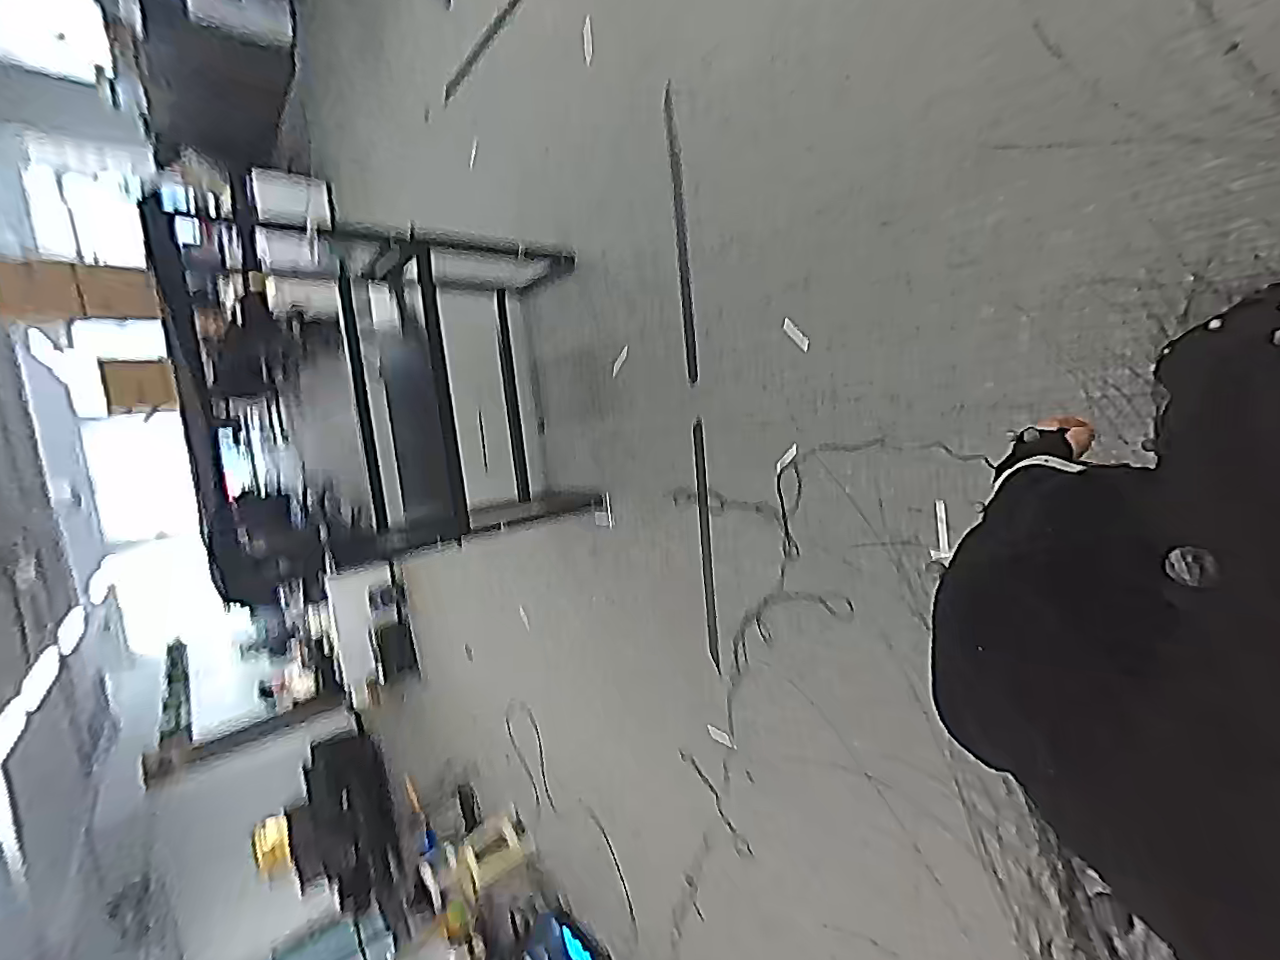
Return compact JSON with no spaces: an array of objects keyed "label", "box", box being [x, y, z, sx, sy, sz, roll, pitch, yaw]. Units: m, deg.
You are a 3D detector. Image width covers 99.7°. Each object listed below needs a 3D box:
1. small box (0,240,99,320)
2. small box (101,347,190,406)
[{"label":"small box","box":[-1.629,-0.542,1.486,0.168,0.176,0.179,5,105,52]},{"label":"small box","box":[-1.492,-0.313,1.640,0.179,0.176,0.168,8,105,50]}]
